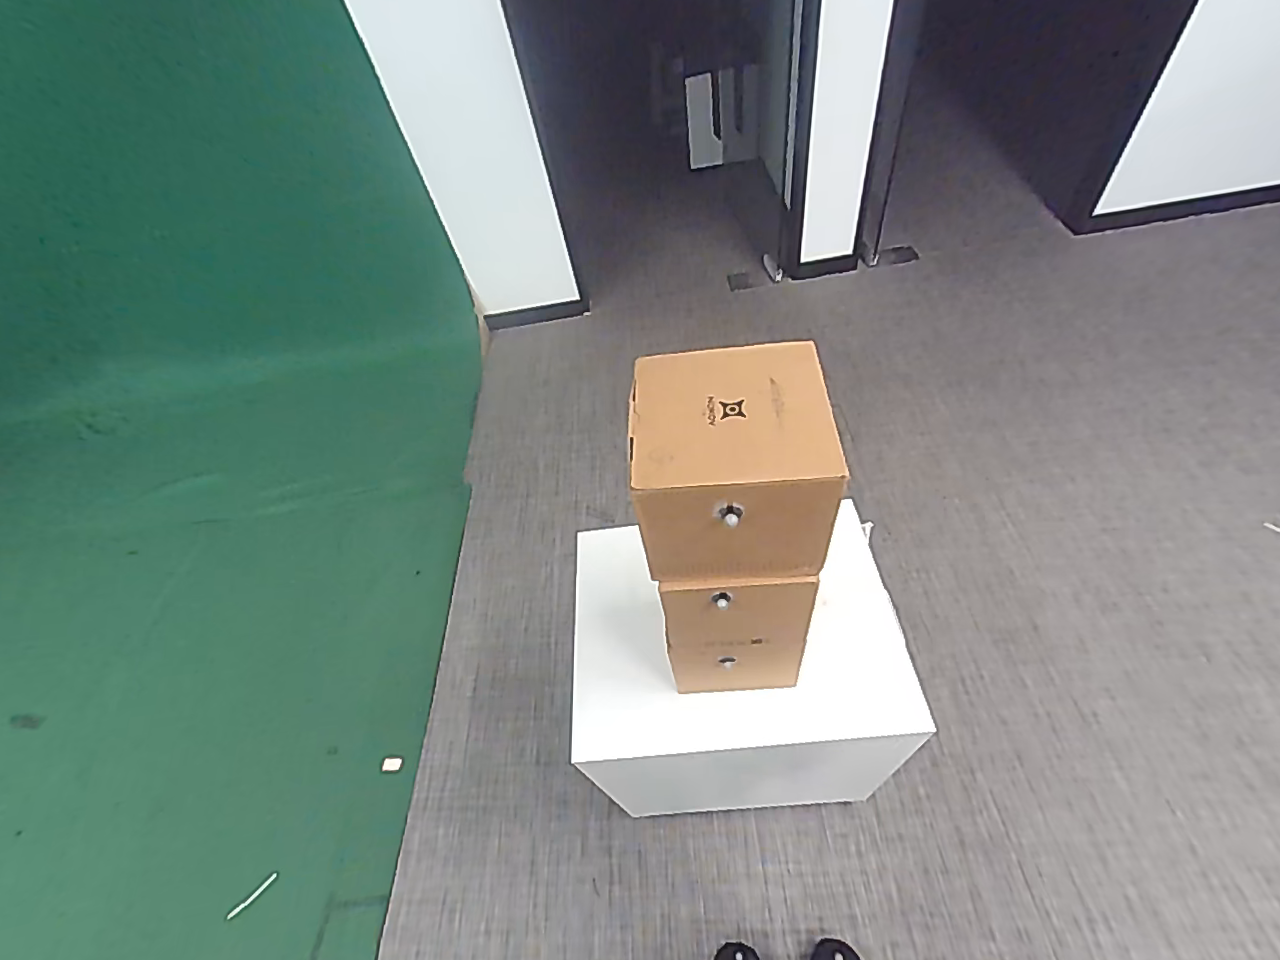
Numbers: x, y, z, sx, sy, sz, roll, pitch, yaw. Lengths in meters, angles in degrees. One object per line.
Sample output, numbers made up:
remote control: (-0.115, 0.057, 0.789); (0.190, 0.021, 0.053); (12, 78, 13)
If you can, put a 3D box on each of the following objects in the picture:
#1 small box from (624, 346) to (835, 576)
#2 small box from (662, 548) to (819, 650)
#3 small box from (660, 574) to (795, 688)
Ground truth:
small box: (0.085, -0.012, 0.552); (0.179, 0.176, 0.168); (-3, 53, 6)
small box: (0.111, 0.094, 0.676); (0.168, 0.176, 0.179); (-6, 51, 4)
small box: (0.127, 0.198, 0.798); (0.179, 0.176, 0.168); (-5, 51, 6)
